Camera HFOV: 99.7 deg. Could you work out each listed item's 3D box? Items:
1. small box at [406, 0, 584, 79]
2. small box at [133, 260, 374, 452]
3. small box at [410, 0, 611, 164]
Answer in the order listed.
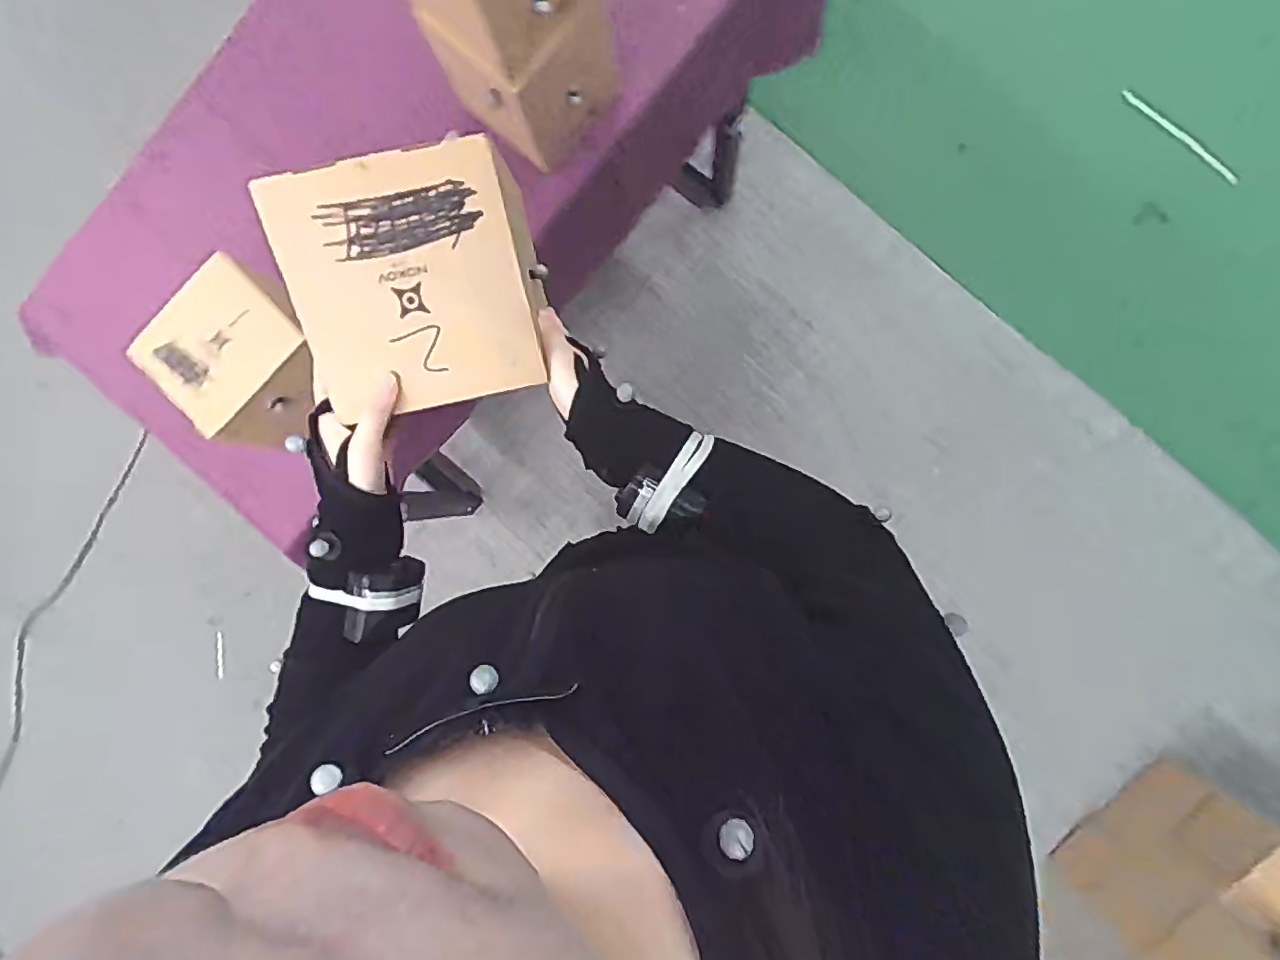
[{"bbox_3d":[-0.173,-0.582,0.565,0.179,0.176,0.168,41,92,3],"label":"small box"},{"bbox_3d":[-0.514,-0.154,0.746,0.168,0.176,0.179,43,91,4],"label":"small box"},{"bbox_3d":[-0.158,-0.569,0.727,0.179,0.176,0.168,41,92,5],"label":"small box"}]
